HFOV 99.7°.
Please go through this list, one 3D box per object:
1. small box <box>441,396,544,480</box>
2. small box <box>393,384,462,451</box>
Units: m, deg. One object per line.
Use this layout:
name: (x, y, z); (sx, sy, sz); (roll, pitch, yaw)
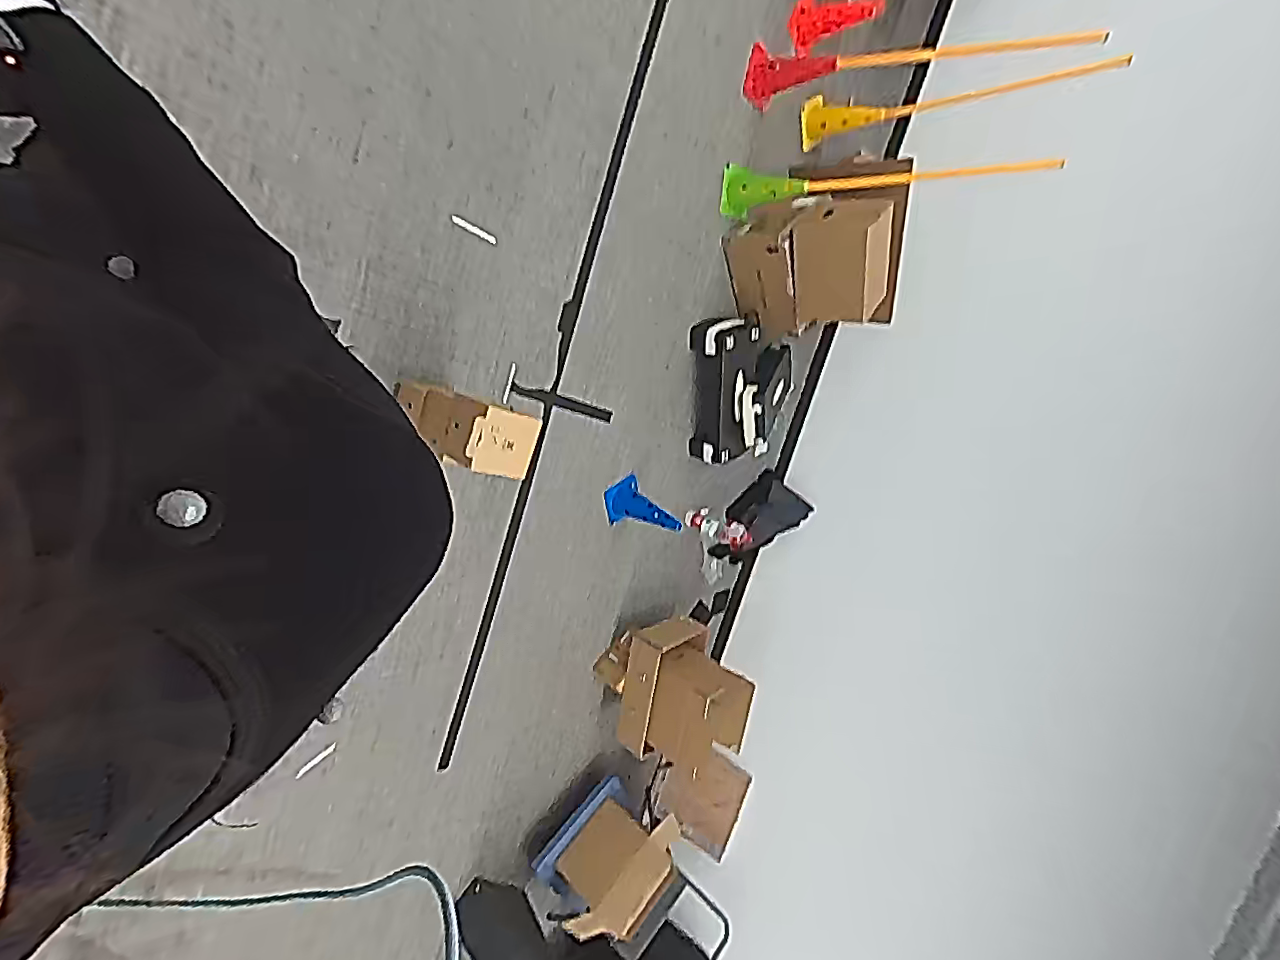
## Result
small box: (-0.390, -0.112, 1.423); (0.179, 0.176, 0.168); (13, 99, -49)
small box: (-0.625, -0.188, 1.643); (0.179, 0.176, 0.168); (5, 104, -49)
